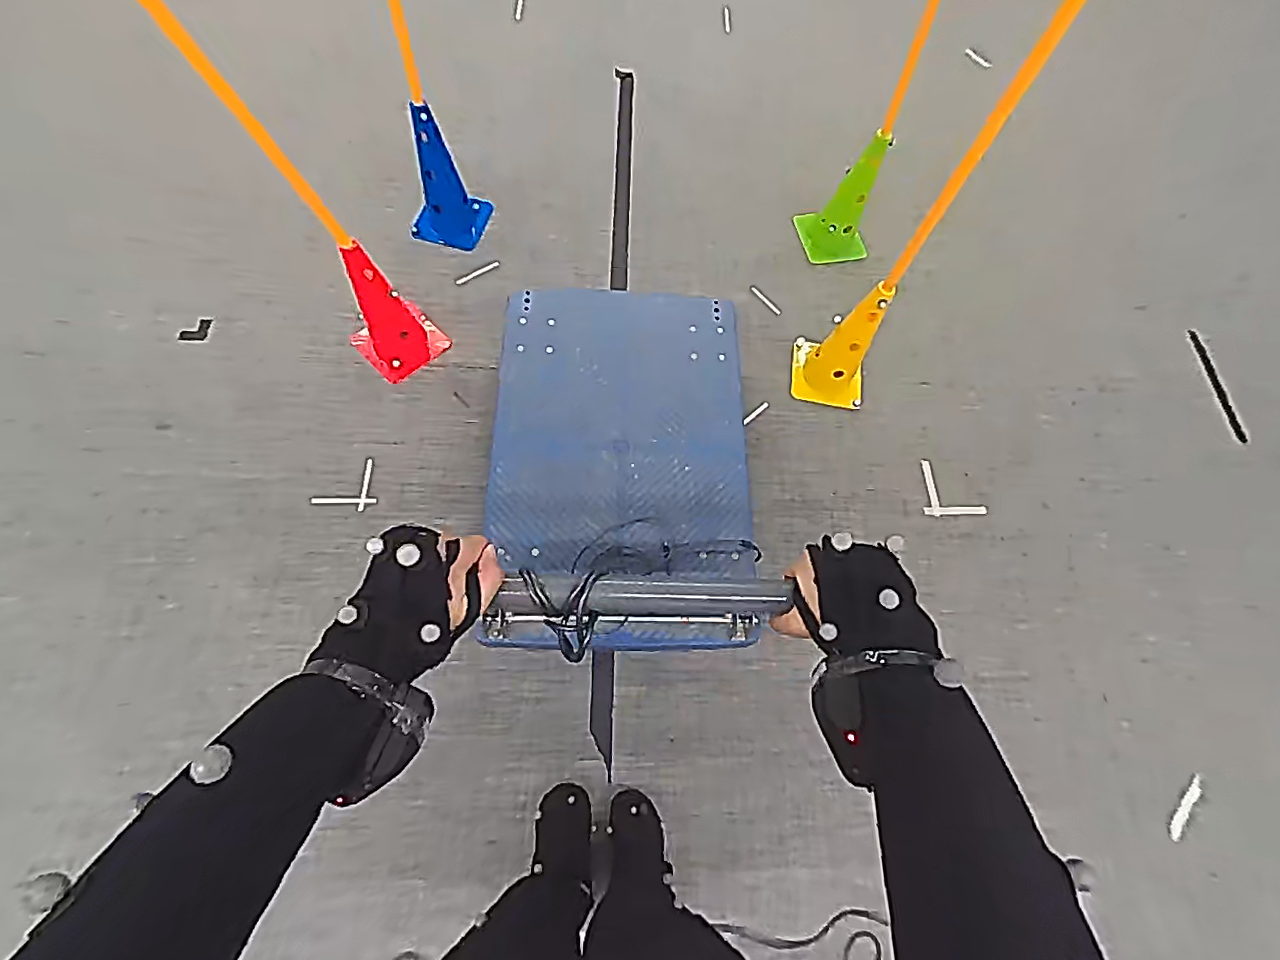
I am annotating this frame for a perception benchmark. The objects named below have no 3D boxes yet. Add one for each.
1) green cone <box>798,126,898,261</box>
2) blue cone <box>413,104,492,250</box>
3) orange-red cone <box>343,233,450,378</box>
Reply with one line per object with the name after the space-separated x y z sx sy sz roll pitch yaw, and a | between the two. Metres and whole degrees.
0.632 -0.848 1.571 0.200 0.368 0.202 -11 71 -9 | green cone
-0.547 -0.846 1.489 0.193 0.380 0.192 16 69 2 | blue cone
-0.629 -0.448 1.310 0.199 0.360 0.198 -41 78 -19 | orange-red cone
